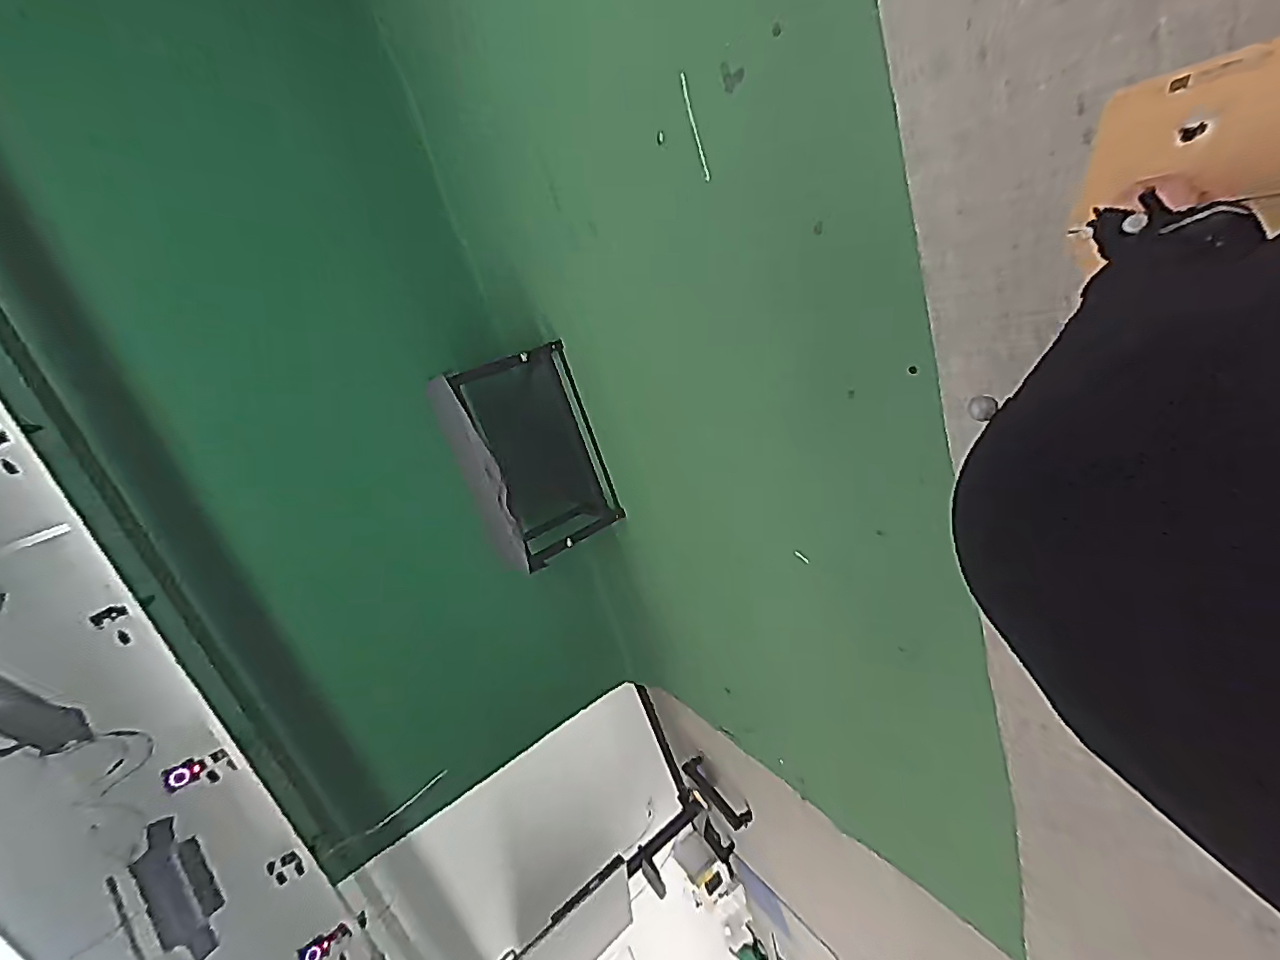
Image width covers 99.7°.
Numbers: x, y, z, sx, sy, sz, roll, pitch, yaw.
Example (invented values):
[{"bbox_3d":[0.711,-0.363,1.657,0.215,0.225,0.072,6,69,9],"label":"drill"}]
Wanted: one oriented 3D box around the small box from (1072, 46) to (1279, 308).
[{"bbox_3d":[0.598,-0.310,0.574,0.168,0.179,0.176,12,84,54],"label":"small box"}]
